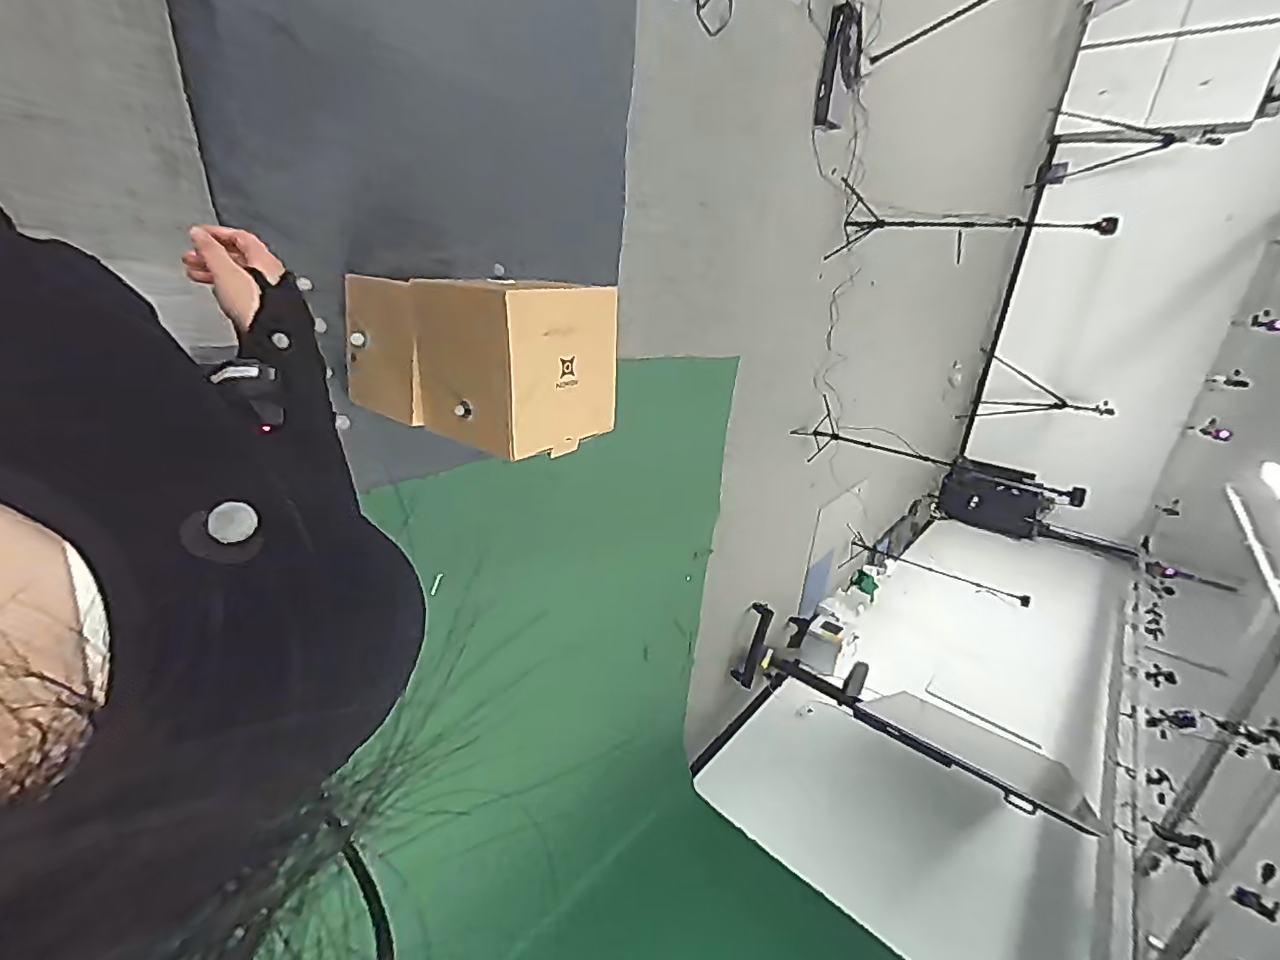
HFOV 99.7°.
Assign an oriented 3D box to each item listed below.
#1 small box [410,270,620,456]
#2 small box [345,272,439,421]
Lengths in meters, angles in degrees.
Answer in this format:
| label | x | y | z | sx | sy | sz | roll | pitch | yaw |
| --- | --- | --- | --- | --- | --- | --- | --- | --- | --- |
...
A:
| label | x | y | z | sx | sy | sz | roll | pitch | yaw |
| --- | --- | --- | --- | --- | --- | --- | --- | --- | --- |
| small box | -0.141 | -0.146 | 0.628 | 0.168 | 0.176 | 0.179 | -25 | 124 | -48 |
| small box | -0.268 | -0.180 | 0.725 | 0.179 | 0.176 | 0.168 | -13 | 116 | -50 |
